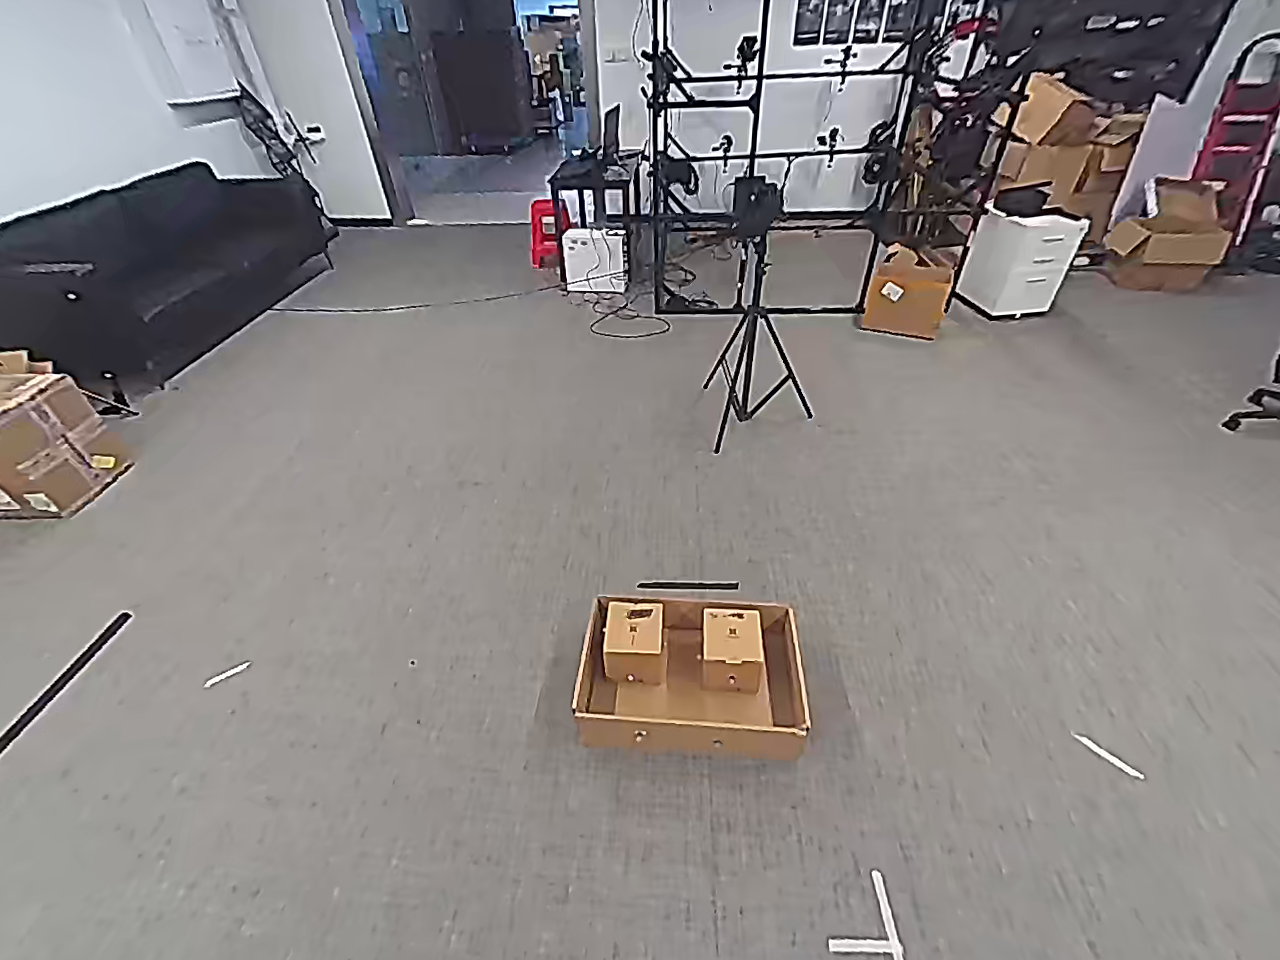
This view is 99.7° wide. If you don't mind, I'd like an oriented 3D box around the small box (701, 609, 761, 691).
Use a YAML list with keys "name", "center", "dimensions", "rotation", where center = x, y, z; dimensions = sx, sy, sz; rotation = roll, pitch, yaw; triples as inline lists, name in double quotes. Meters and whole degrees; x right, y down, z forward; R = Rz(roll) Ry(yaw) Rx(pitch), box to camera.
- name: "small box"
  center: [0.269, 0.504, 1.598]
  dimensions: [0.168, 0.176, 0.179]
  rotation: [1, 41, 8]
